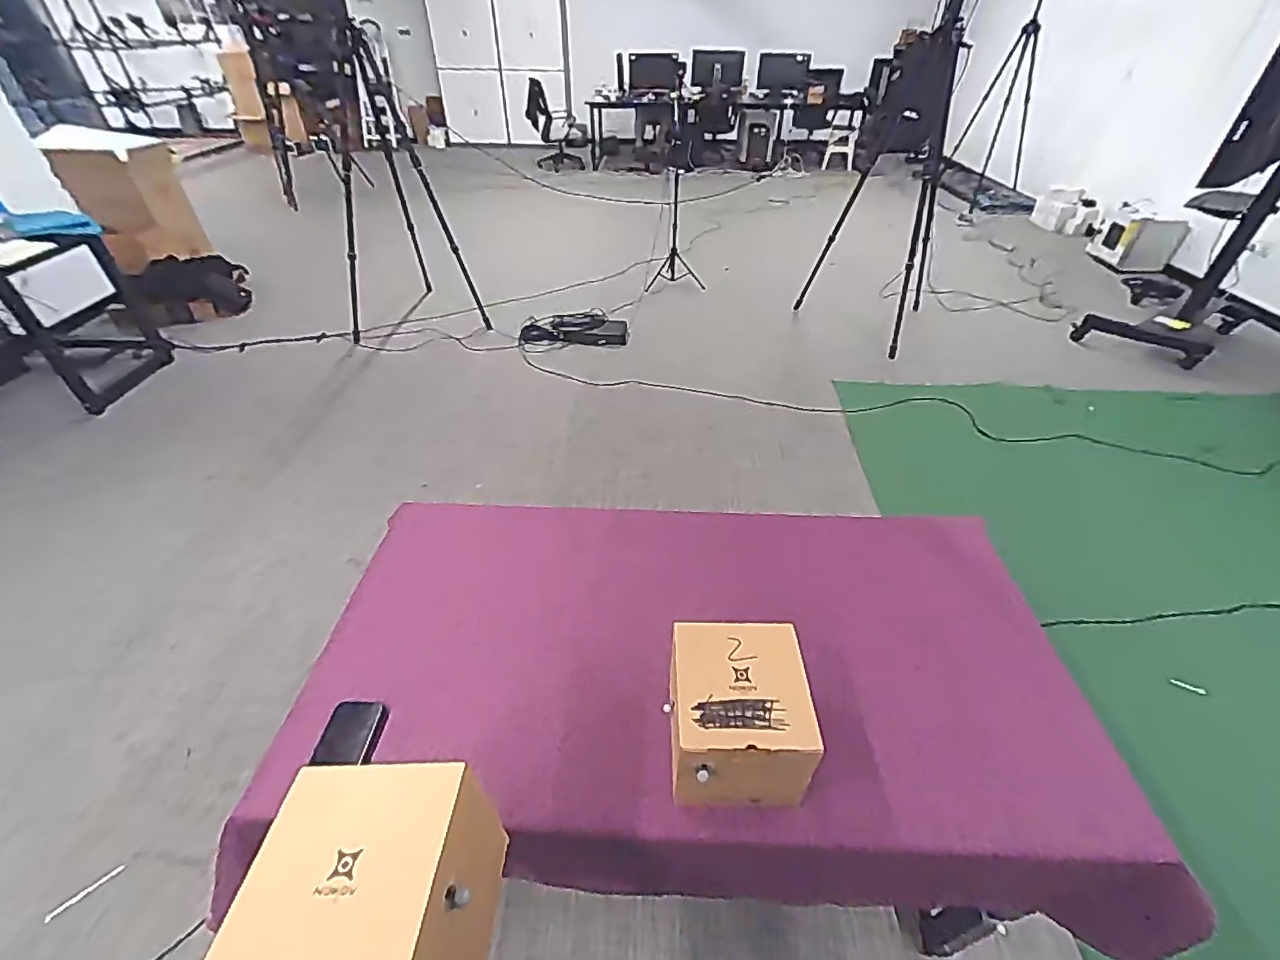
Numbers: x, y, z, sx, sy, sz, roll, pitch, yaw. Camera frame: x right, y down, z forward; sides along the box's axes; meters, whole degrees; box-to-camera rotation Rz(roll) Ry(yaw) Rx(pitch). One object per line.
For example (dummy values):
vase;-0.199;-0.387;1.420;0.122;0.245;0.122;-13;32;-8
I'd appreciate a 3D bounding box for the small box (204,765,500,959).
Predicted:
small box;-0.237;0.388;0.492;0.168;0.176;0.179;-3;37;4
